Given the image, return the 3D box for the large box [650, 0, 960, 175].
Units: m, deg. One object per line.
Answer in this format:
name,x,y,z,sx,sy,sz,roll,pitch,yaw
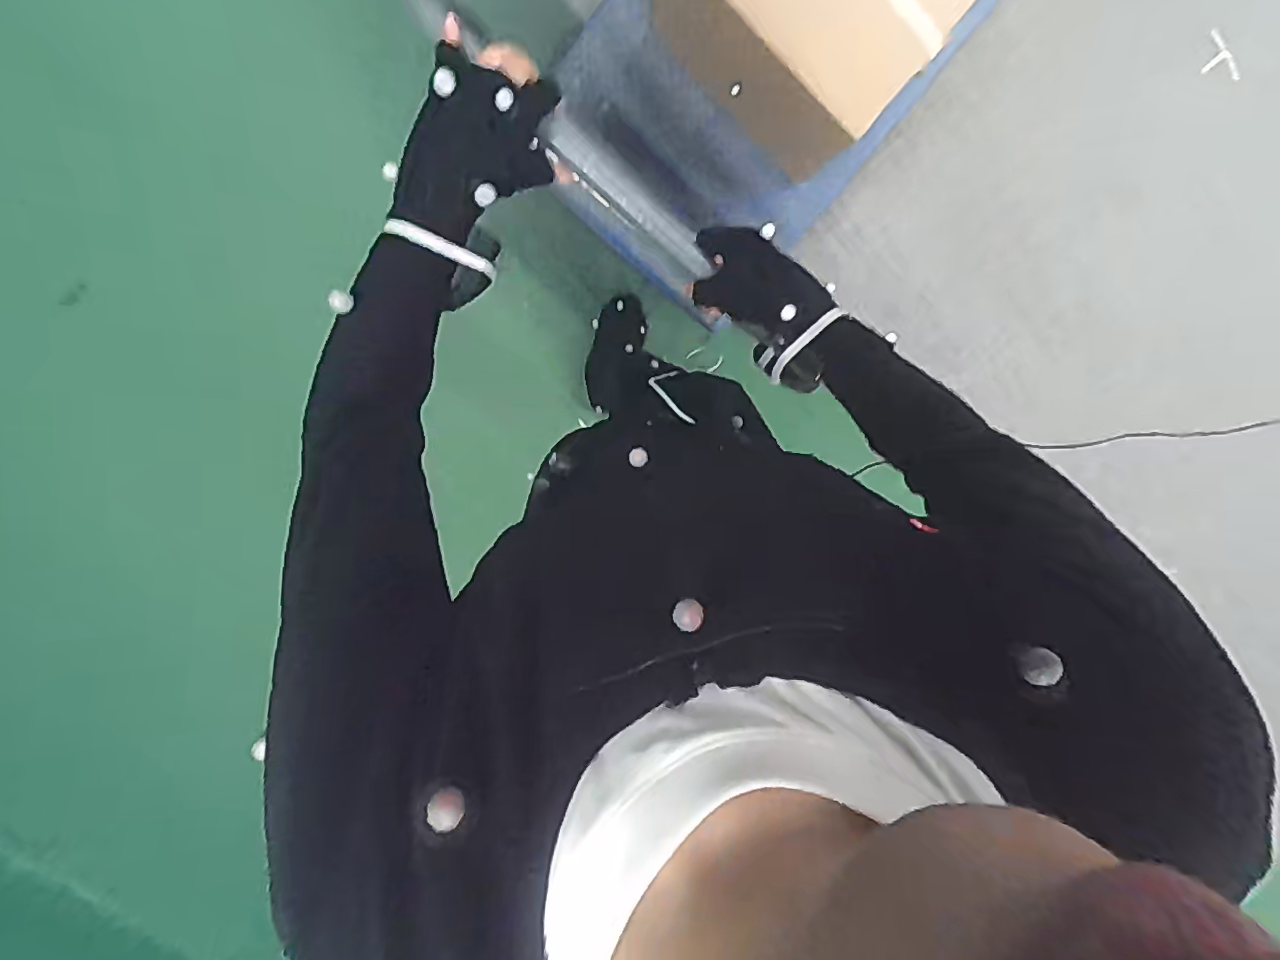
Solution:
large box,0.265,-0.803,0.896,0.408,0.320,0.320,38,102,-11
